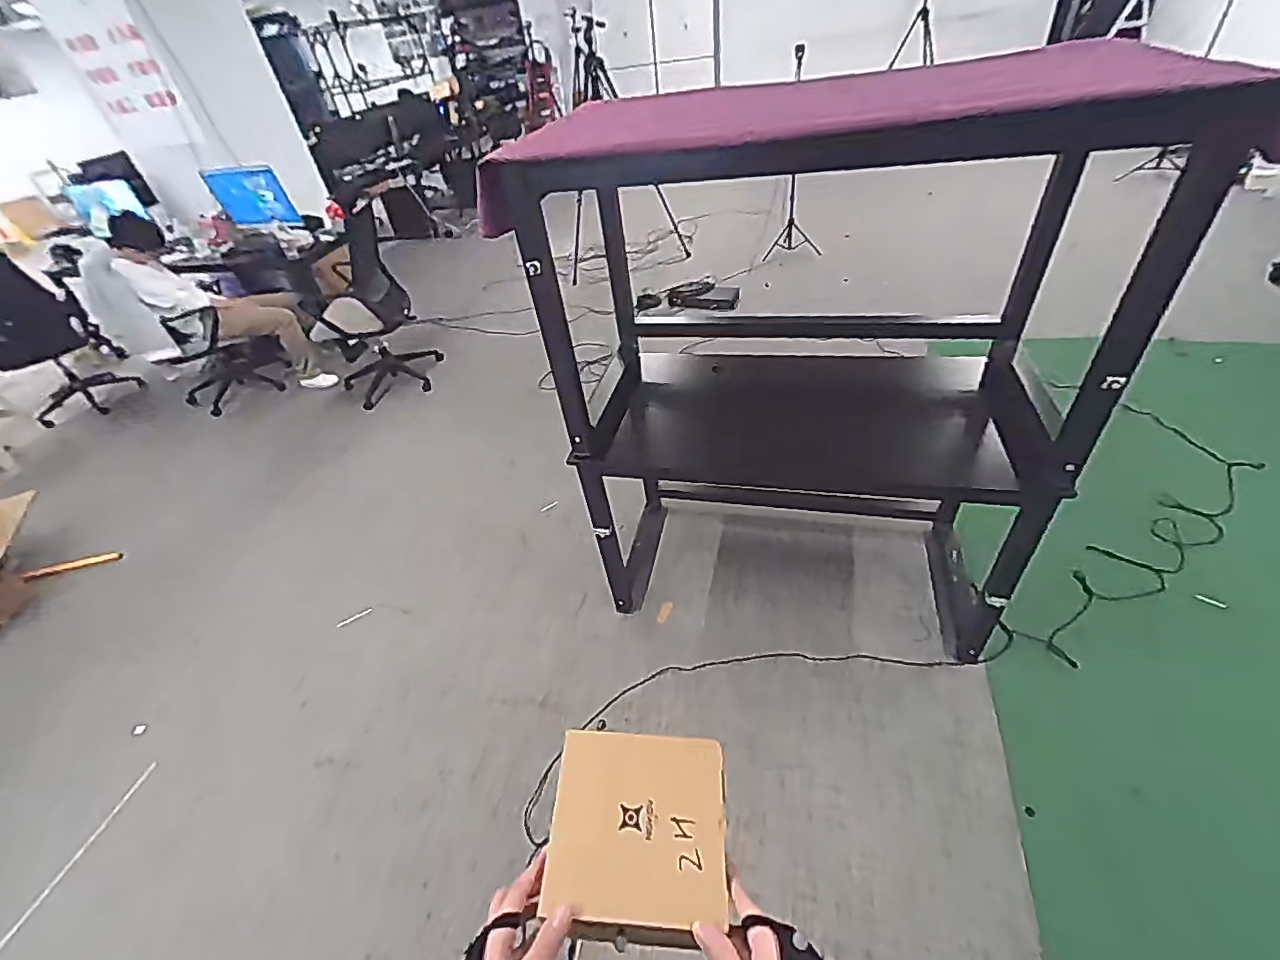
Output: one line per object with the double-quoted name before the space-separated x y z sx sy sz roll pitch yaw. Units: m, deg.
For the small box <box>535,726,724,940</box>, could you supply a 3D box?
"small box" -0.004 0.393 0.600 0.179 0.176 0.168 3 46 3
